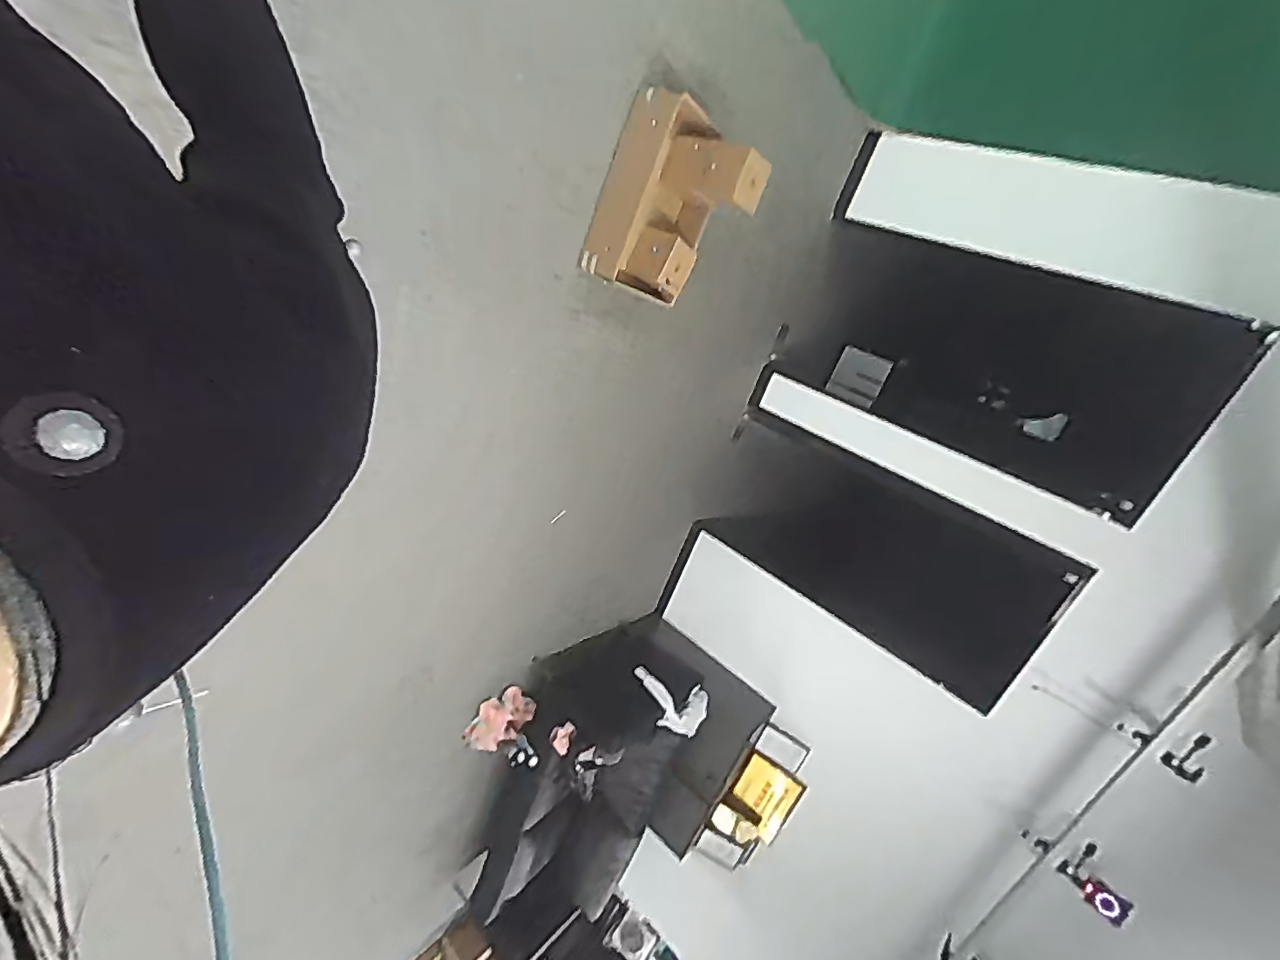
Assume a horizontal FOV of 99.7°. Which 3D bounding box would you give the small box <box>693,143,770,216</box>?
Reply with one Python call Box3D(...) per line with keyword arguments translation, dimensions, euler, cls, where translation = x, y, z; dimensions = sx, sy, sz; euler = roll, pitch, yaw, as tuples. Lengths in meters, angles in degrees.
Box3D(translation=(0.318, -1.052, 1.888), dimensions=(0.179, 0.176, 0.168), euler=(-7, 123, -52), cls="small box")
